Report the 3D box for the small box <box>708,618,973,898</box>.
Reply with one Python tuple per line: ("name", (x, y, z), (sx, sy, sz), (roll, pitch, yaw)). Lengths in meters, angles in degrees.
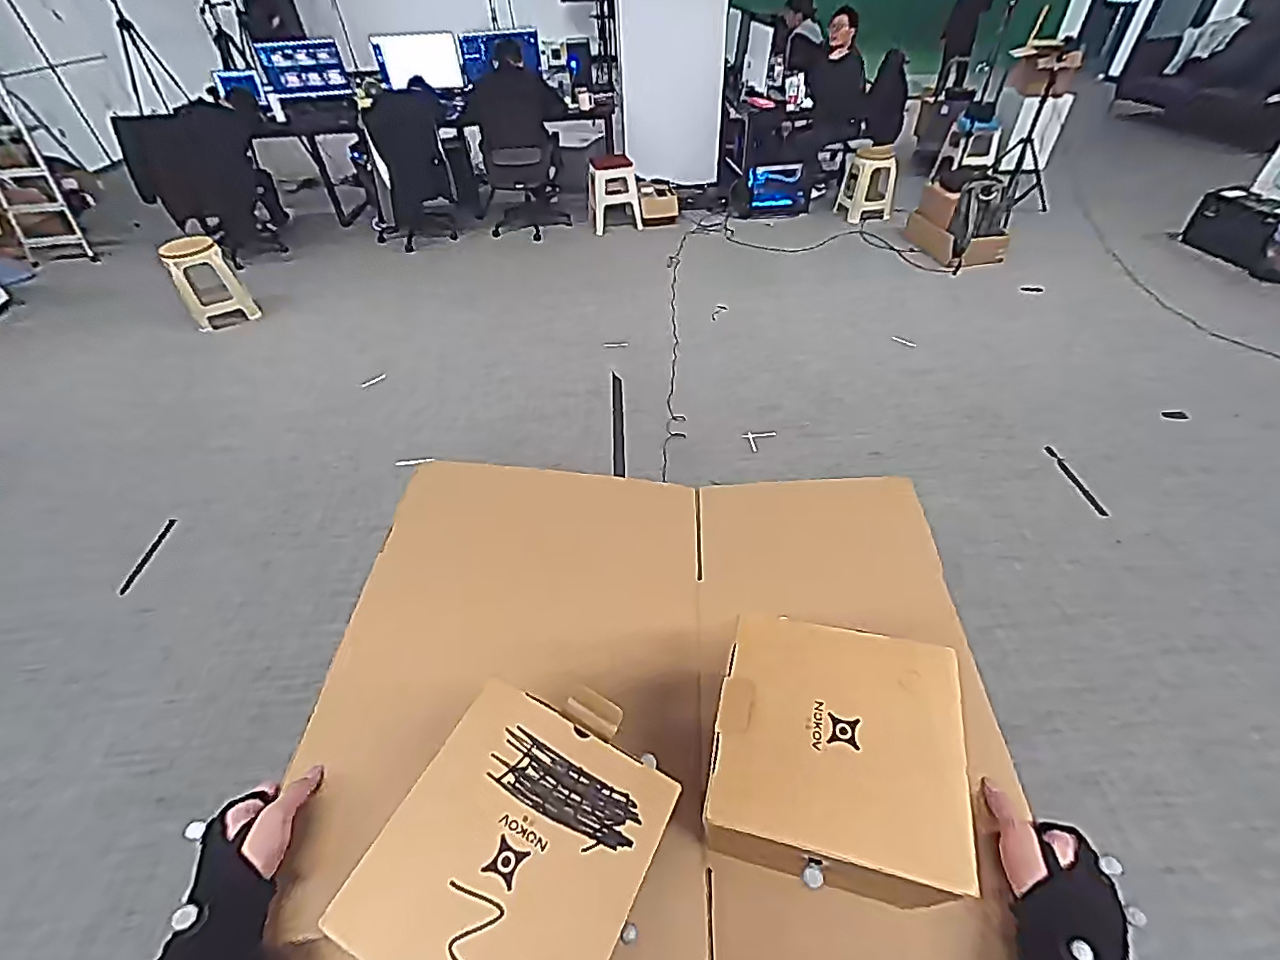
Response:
("small box", (0.166, 0.246, 0.479), (0.179, 0.176, 0.168), (5, 52, 17))
